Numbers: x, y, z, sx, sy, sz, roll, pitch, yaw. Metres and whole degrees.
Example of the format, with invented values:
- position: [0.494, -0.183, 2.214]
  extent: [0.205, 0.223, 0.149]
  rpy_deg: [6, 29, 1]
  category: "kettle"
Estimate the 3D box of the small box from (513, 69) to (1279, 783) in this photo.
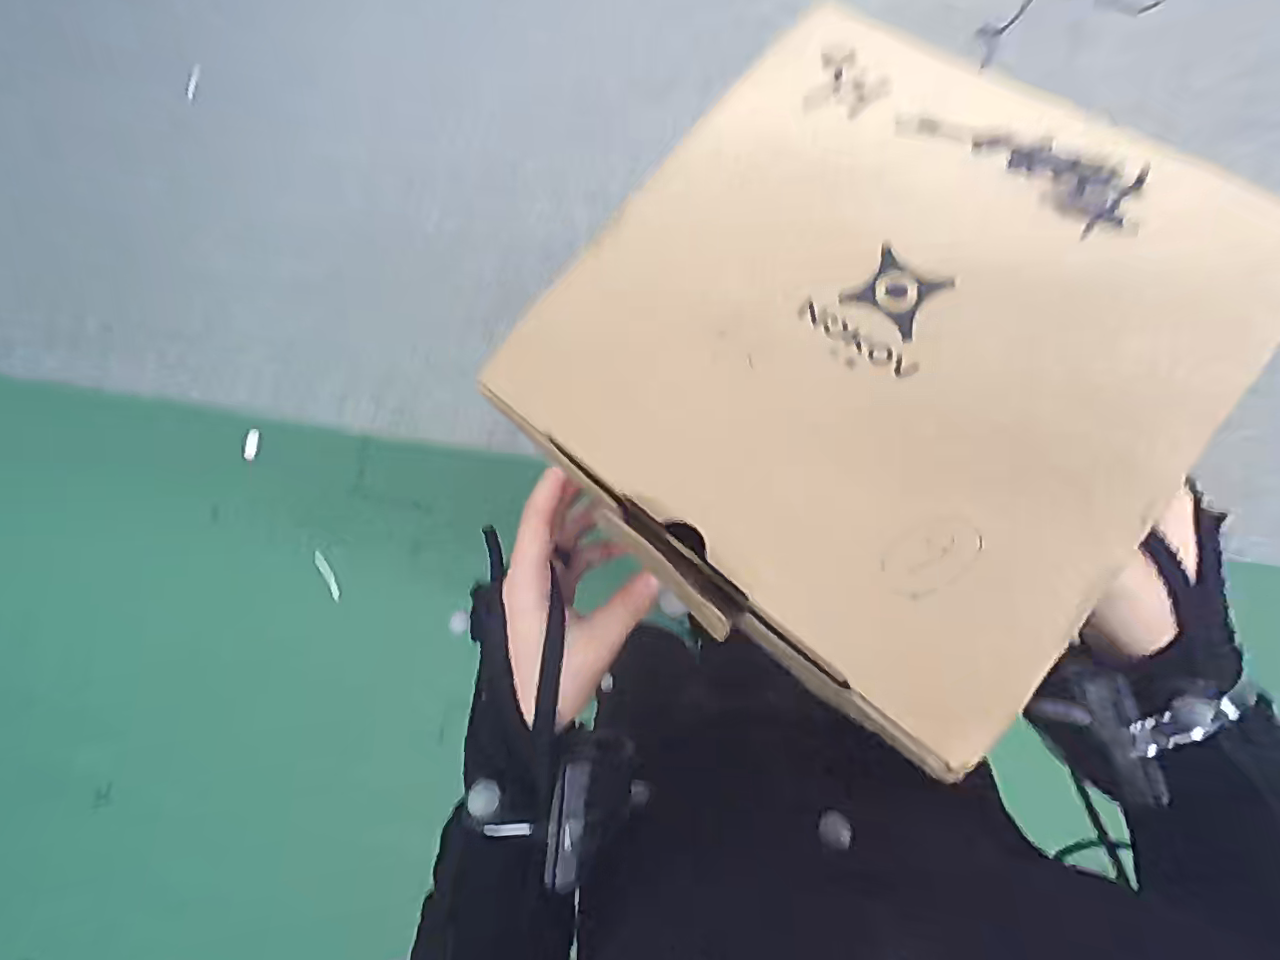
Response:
- position: [0.083, -0.015, 0.241]
  extent: [0.168, 0.176, 0.179]
  rpy_deg: [39, 84, 16]
  category: "small box"
